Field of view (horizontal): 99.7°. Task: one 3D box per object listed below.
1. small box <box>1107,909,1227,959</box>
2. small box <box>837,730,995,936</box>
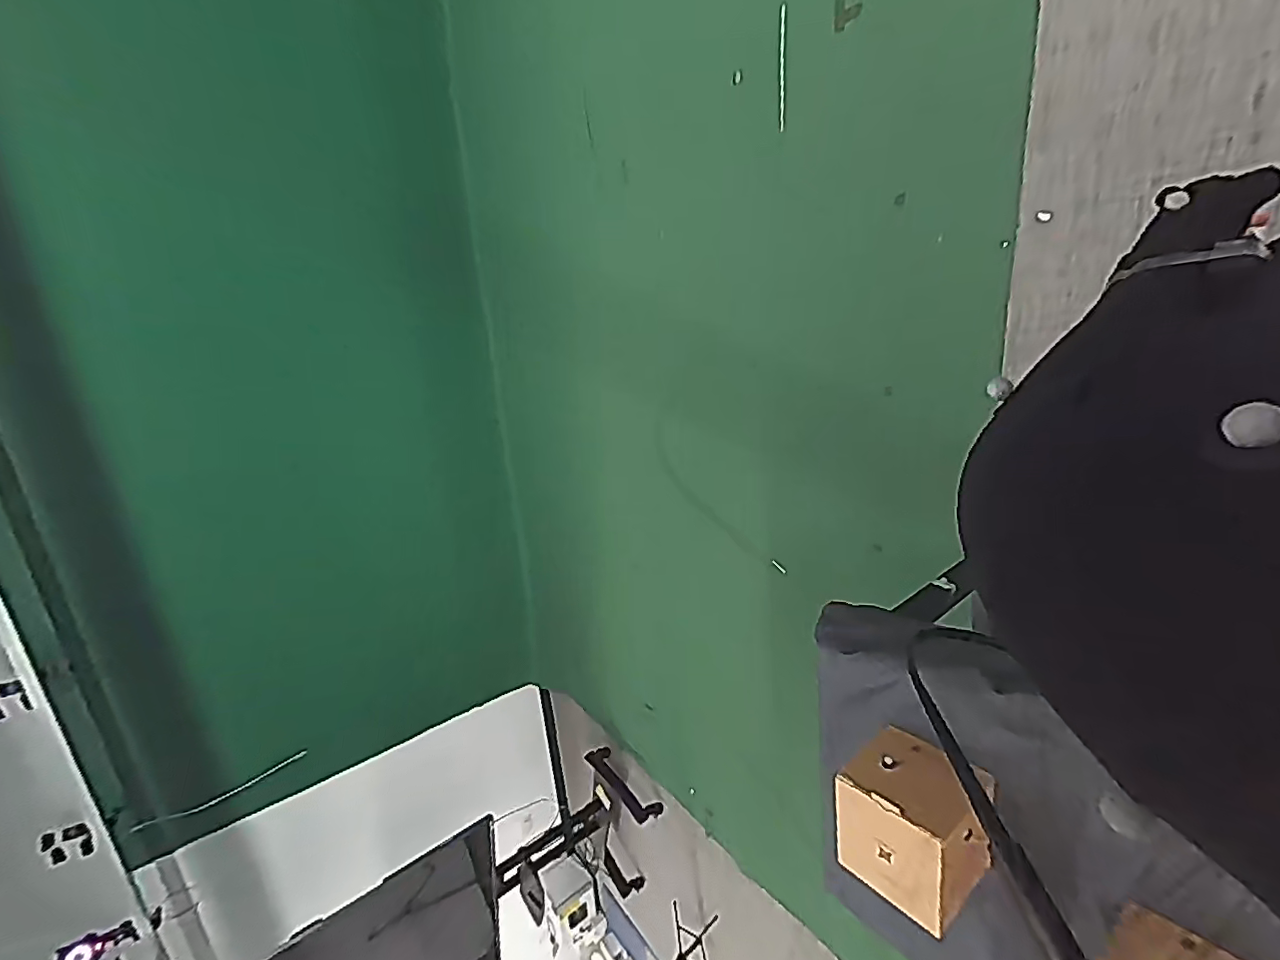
[{"bbox_3d":[0.636,0.657,0.615,0.168,0.176,0.179,8,111,54],"label":"small box"},{"bbox_3d":[0.434,0.536,0.853,0.168,0.176,0.179,11,114,54],"label":"small box"}]
